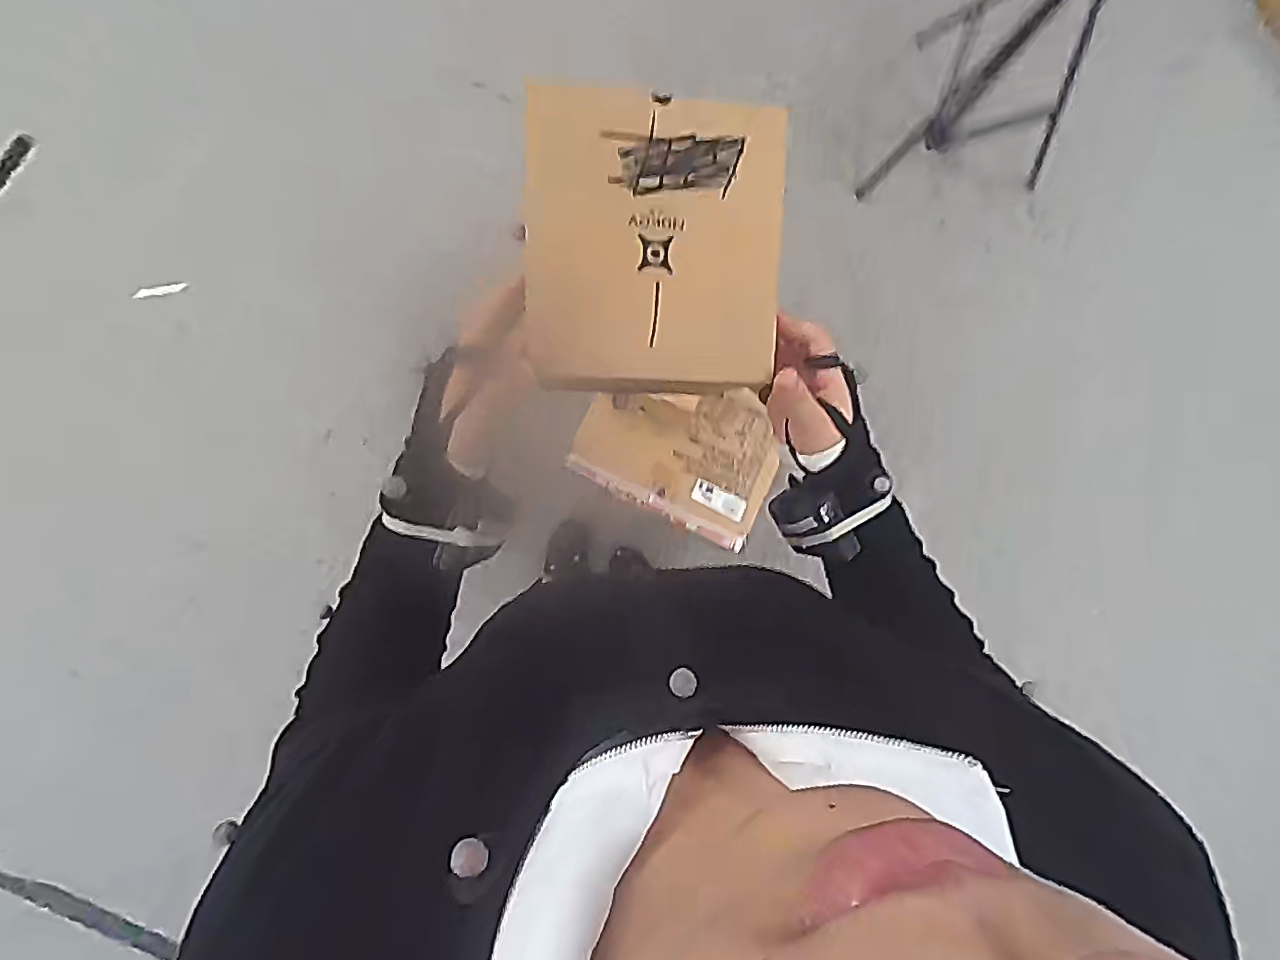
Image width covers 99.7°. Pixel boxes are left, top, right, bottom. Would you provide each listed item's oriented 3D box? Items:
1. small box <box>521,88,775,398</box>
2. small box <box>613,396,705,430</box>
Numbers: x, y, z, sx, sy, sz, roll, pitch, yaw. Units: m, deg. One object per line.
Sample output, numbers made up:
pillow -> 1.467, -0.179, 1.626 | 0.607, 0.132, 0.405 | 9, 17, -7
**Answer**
small box -> -0.007, -0.157, 0.421 | 0.168, 0.176, 0.179 | -1, 97, -9
small box -> 0.049, -0.210, 0.977 | 0.168, 0.176, 0.179 | 23, 85, 0
